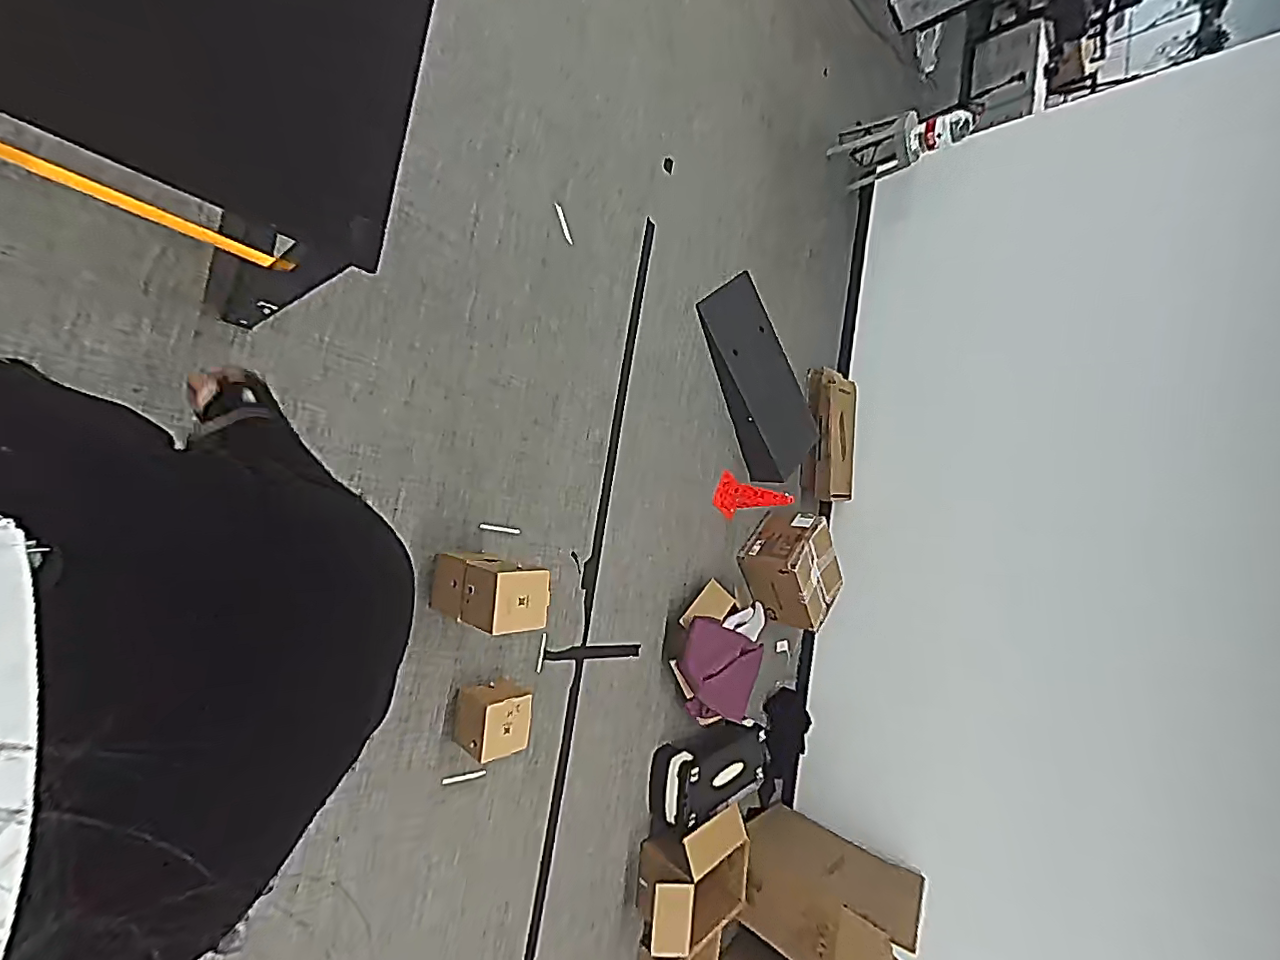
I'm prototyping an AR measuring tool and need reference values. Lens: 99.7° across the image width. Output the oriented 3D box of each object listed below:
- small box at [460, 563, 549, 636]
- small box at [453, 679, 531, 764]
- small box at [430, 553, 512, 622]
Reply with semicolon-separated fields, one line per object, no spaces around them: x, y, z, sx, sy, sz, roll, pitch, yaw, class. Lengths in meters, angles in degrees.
-0.380;0.326;1.514;0.179;0.176;0.168;6;87;-46;small box
-0.467;0.749;1.695;0.168;0.176;0.179;7;88;-47;small box
-0.507;0.316;1.616;0.168;0.176;0.179;11;85;-47;small box
